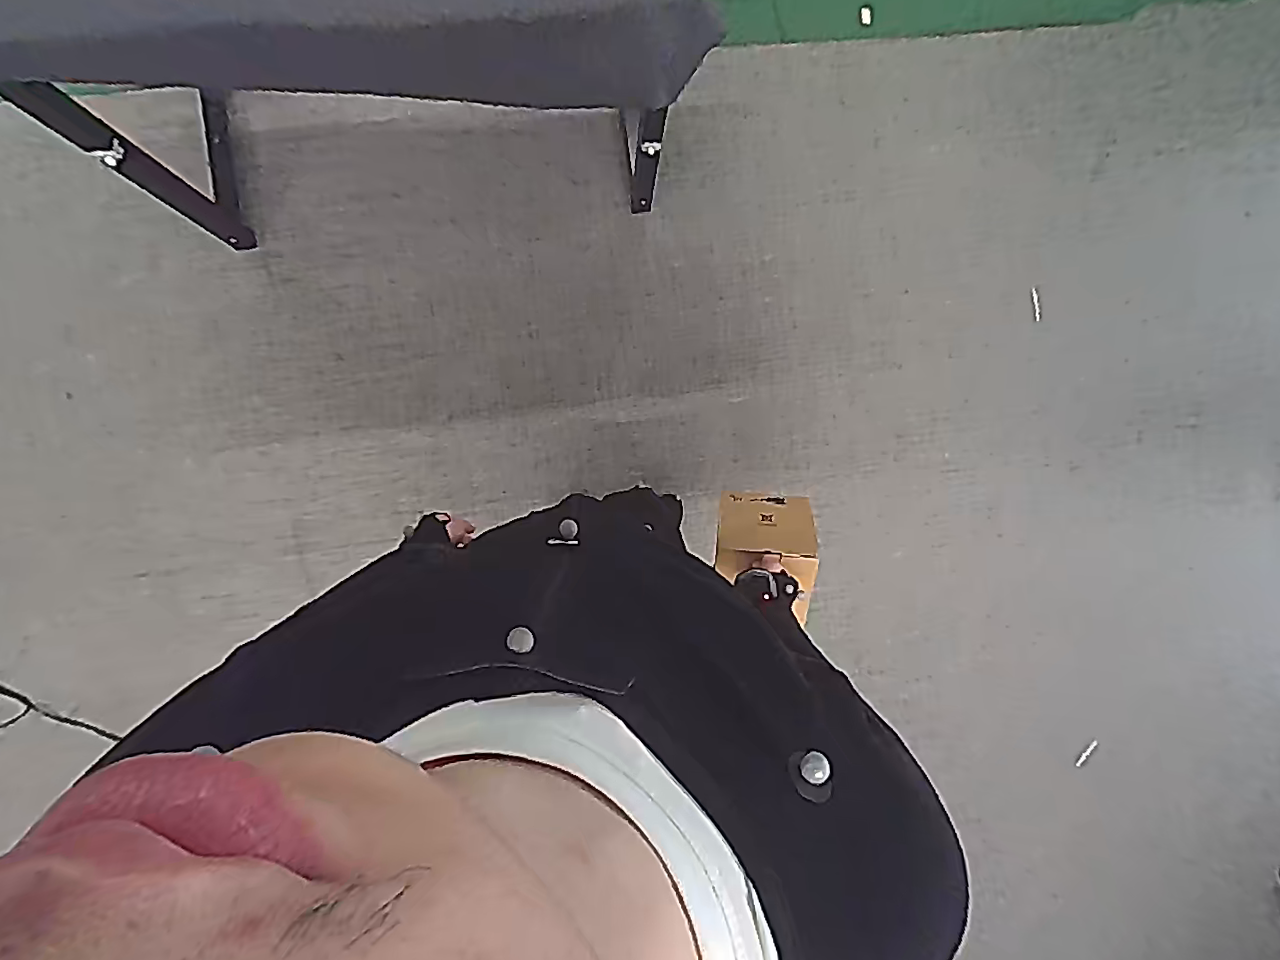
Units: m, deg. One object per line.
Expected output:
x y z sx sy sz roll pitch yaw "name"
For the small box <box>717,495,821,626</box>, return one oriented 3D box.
0.228 0.146 0.992 0.168 0.179 0.176 2 123 8 "small box"
